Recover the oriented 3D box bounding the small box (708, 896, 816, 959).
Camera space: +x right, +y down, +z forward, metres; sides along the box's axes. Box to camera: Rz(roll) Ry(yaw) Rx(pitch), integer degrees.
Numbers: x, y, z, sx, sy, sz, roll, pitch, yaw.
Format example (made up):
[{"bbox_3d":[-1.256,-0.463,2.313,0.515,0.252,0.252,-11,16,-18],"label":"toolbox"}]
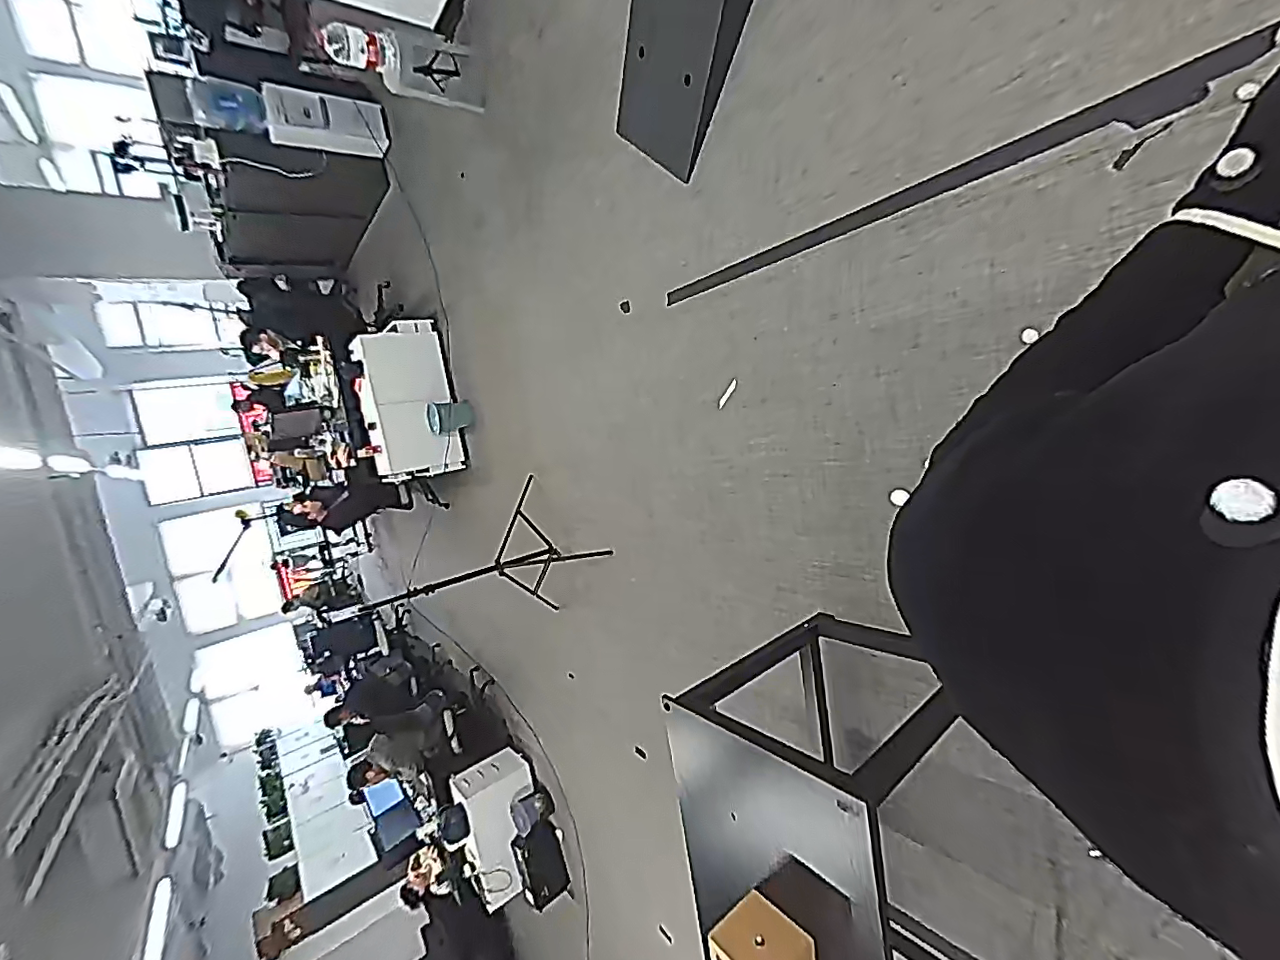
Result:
[{"bbox_3d":[0.281,1.108,1.236,0.179,0.176,0.168,6,107,51],"label":"small box"}]
